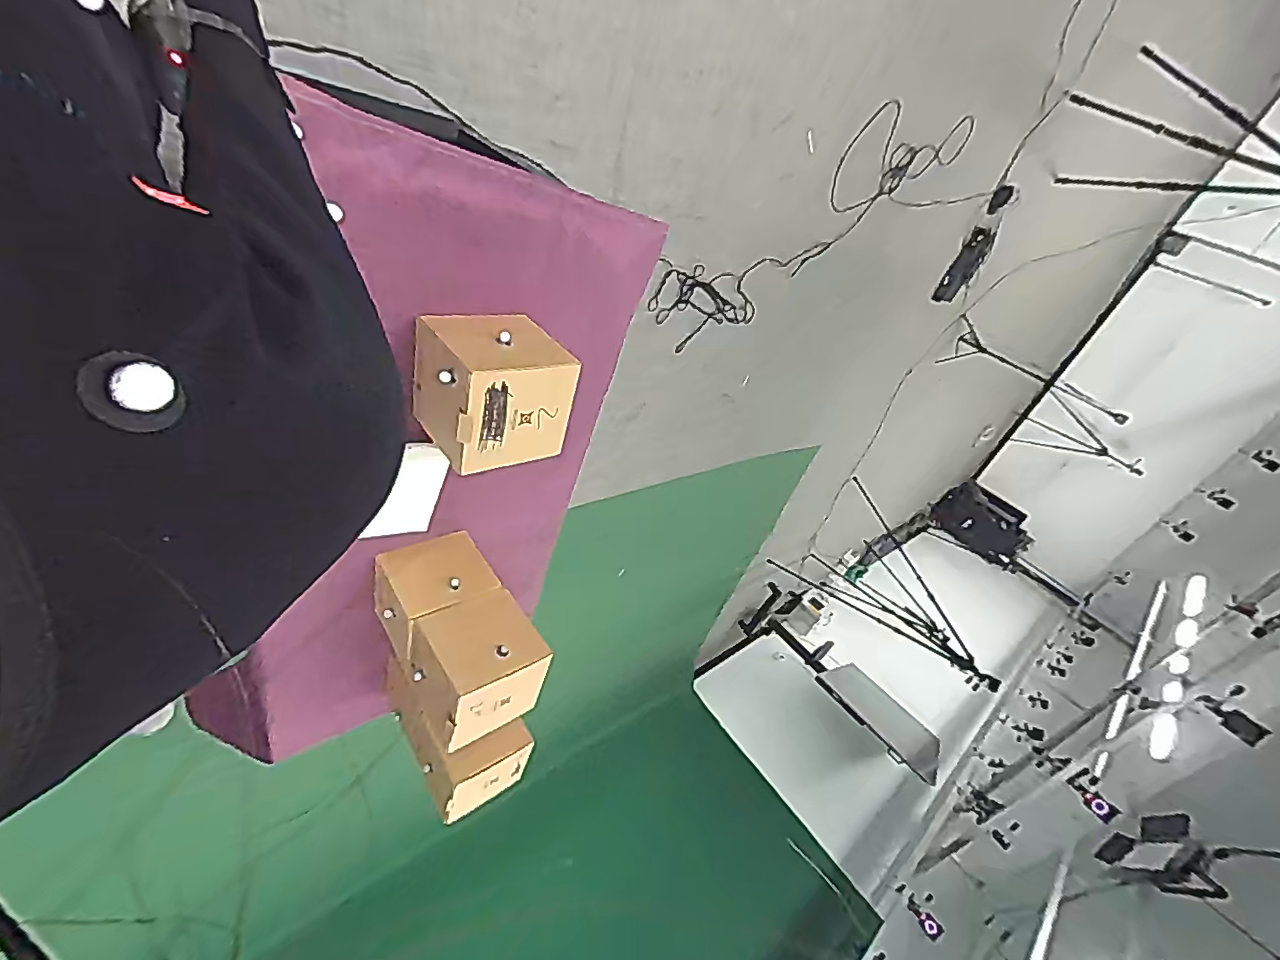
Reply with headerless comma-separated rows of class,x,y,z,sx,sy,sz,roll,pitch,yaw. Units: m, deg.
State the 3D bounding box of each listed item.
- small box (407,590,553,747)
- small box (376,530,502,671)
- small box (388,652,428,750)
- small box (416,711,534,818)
small box,-0.287,0.322,0.959,0.179,0.176,0.168,-13,135,-43
small box,-0.392,0.223,1.039,0.179,0.176,0.168,-16,138,-40
small box,-0.458,0.466,1.237,0.179,0.176,0.168,-13,136,-42
small box,-0.357,0.559,1.149,0.179,0.176,0.168,-12,136,-41
